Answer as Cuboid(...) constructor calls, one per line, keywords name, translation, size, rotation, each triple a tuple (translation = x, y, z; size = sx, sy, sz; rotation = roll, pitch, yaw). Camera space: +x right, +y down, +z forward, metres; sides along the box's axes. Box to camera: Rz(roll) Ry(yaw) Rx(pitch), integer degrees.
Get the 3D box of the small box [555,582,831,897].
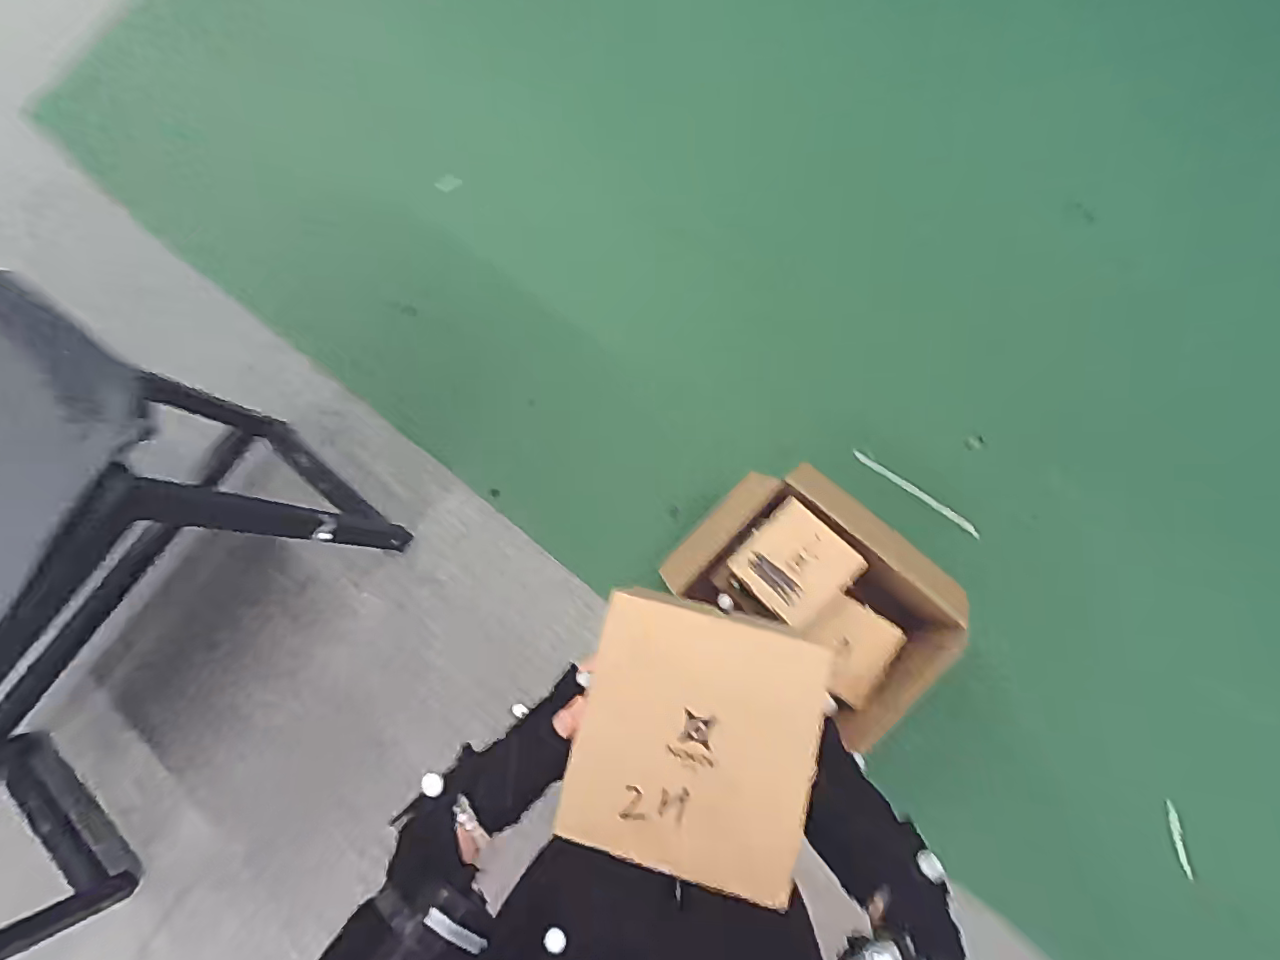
Cuboid(name="small box", translation=(0.046, 0.192, 0.462), size=(0.168, 0.176, 0.179), rotation=(13, 81, 9))
